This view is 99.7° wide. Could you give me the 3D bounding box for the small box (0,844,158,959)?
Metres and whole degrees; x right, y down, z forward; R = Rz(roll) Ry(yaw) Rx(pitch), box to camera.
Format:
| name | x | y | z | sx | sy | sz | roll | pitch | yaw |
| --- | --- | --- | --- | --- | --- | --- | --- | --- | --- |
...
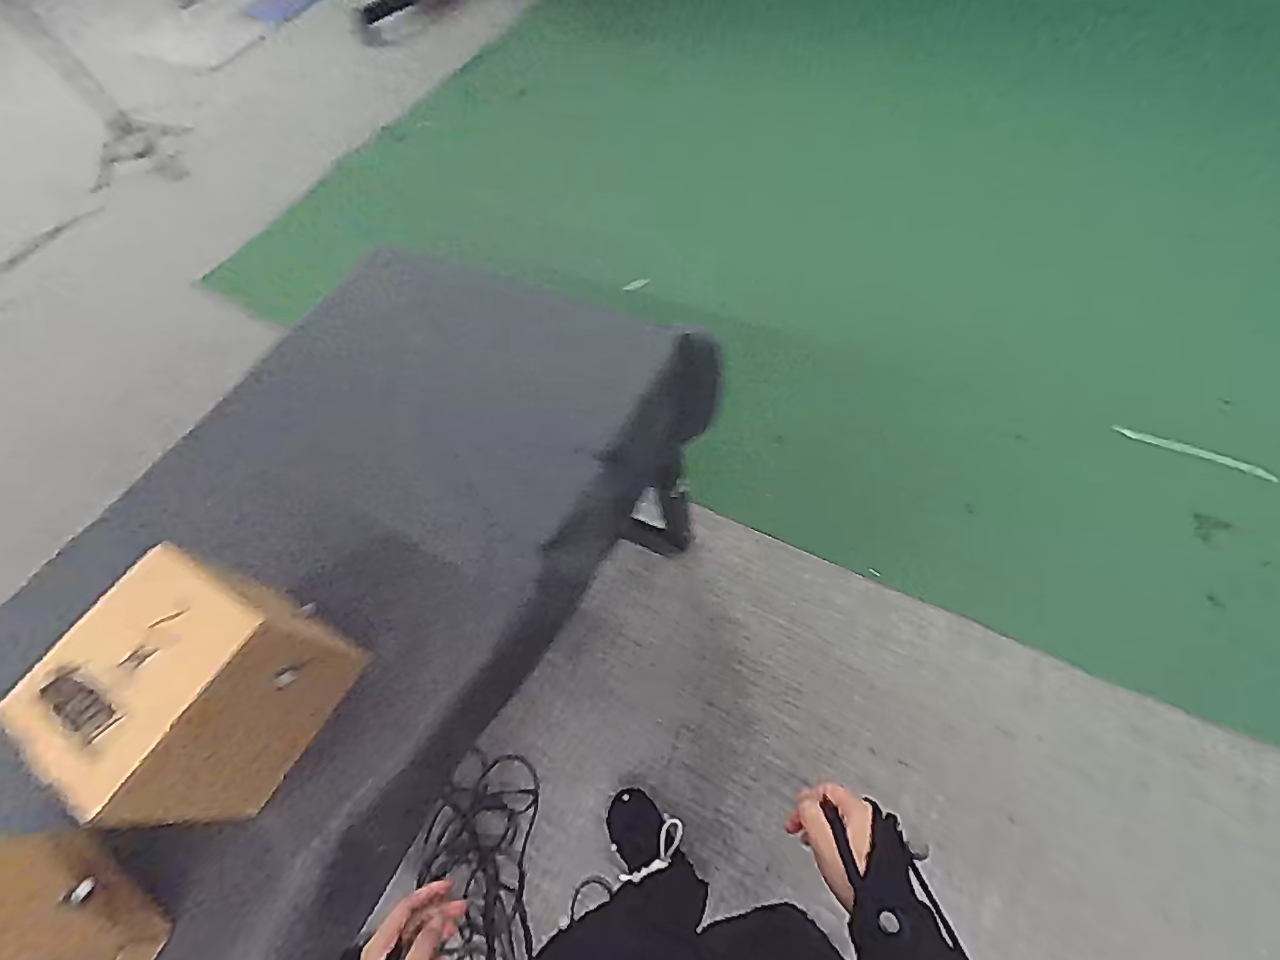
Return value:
| name | x | y | z | sx | sy | sz | roll | pitch | yaw |
| --- | --- | --- | --- | --- | --- | --- | --- | --- | --- |
| small box | -0.559 | 0.426 | 0.427 | 0.168 | 0.176 | 0.179 | 21 | 65 | 20 |
